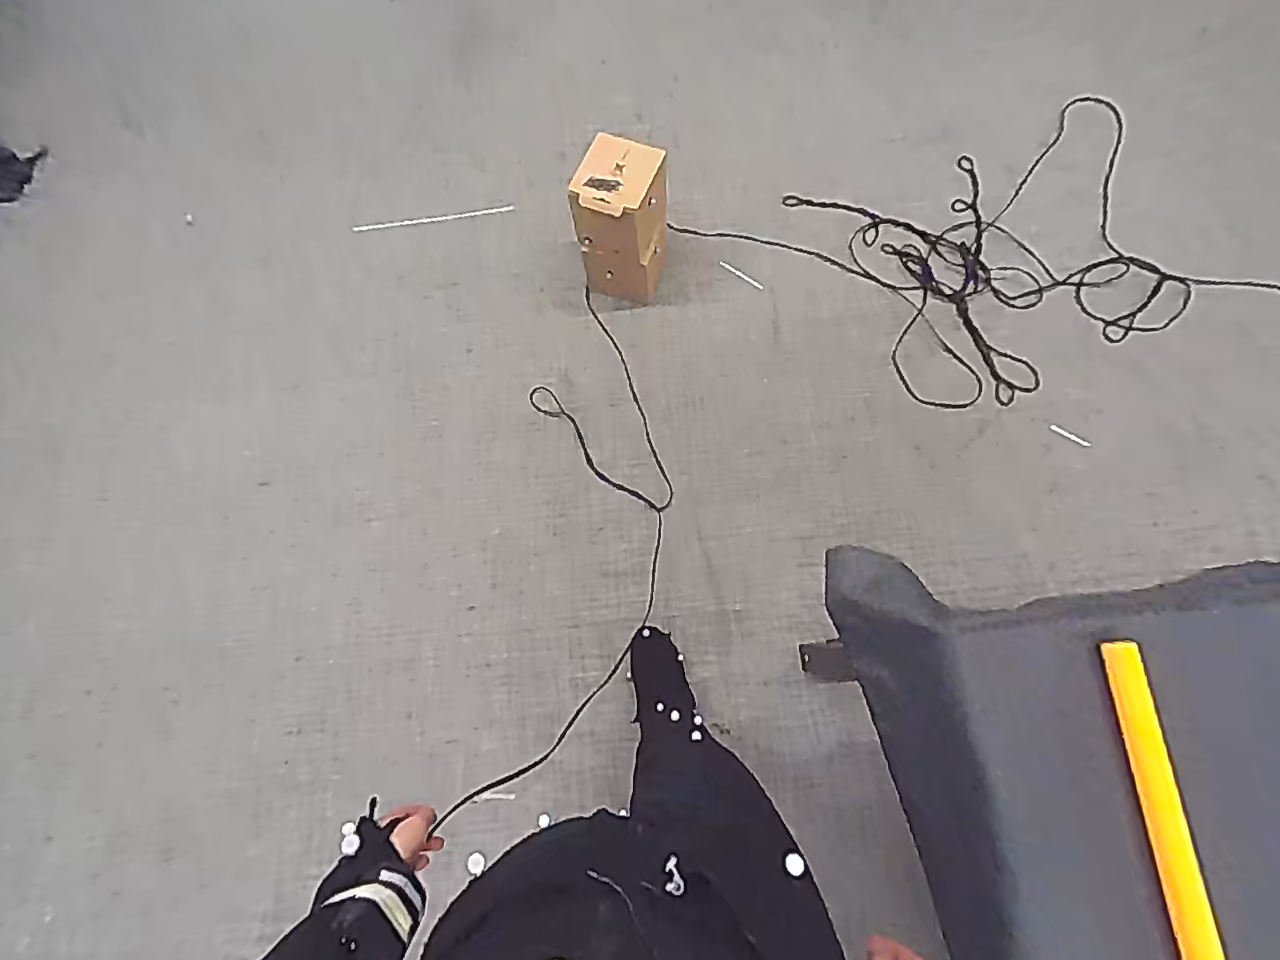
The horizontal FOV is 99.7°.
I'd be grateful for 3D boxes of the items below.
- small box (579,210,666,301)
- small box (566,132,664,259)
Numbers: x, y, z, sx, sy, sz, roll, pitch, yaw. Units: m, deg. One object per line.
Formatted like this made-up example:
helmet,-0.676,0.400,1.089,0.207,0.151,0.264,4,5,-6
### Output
small box,-0.039,-0.591,1.402,0.179,0.176,0.168,16,75,8
small box,-0.048,-0.648,1.247,0.168,0.176,0.179,21,75,8
